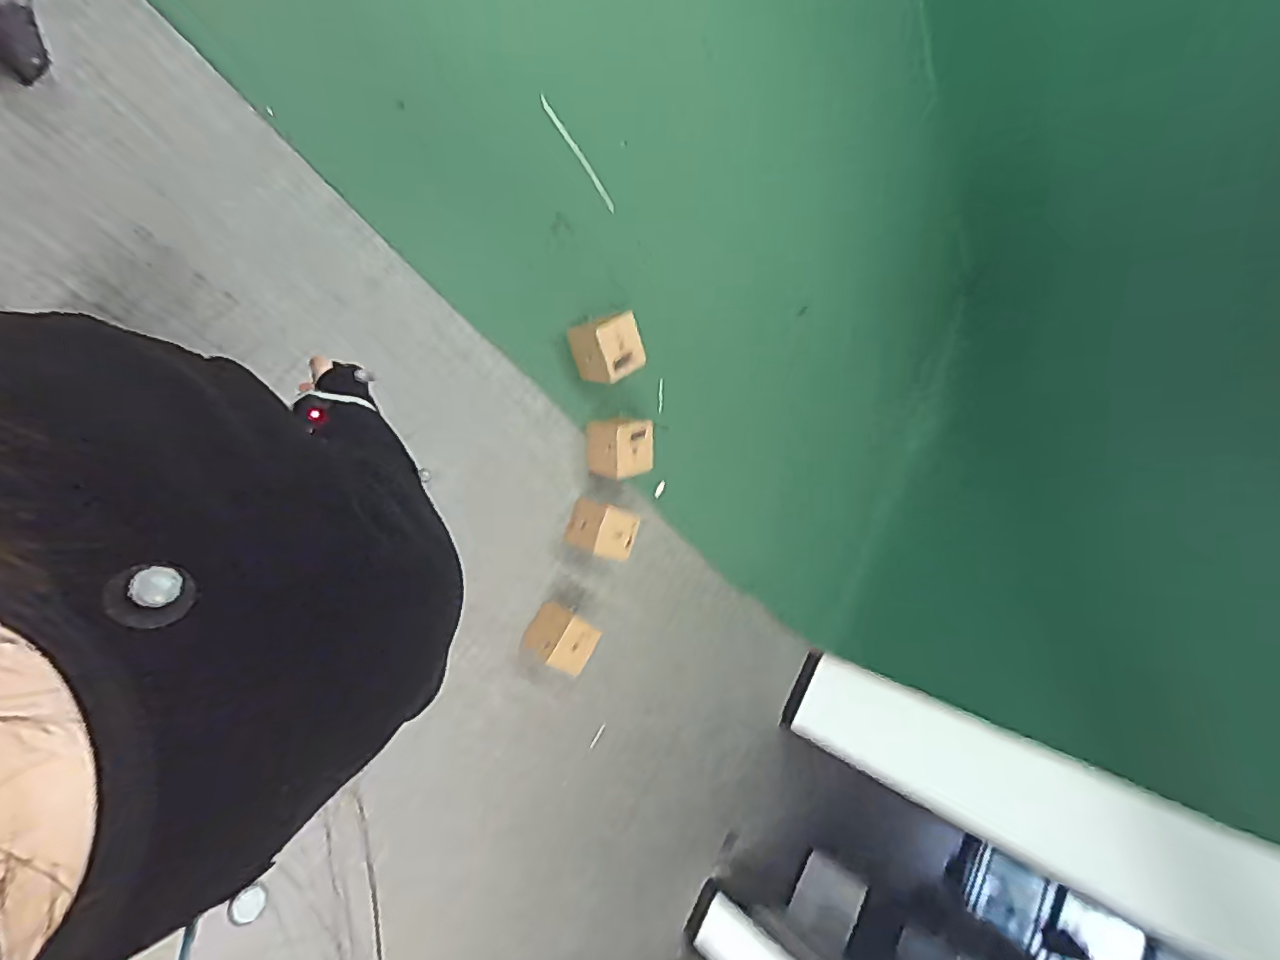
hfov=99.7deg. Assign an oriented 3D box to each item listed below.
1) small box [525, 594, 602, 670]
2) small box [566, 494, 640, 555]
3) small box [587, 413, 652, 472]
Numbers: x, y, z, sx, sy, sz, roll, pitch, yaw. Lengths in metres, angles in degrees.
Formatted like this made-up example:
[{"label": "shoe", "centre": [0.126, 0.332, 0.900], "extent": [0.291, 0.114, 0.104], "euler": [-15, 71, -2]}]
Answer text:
[{"label": "small box", "centre": [-0.273, 0.526, 1.884], "extent": [0.168, 0.176, 0.179], "euler": [43, 72, -41]}, {"label": "small box", "centre": [-0.134, 0.155, 1.922], "extent": [0.179, 0.176, 0.168], "euler": [21, 86, -44]}, {"label": "small box", "centre": [-0.075, -0.138, 1.904], "extent": [0.168, 0.176, 0.179], "euler": [-15, 111, -41]}]
